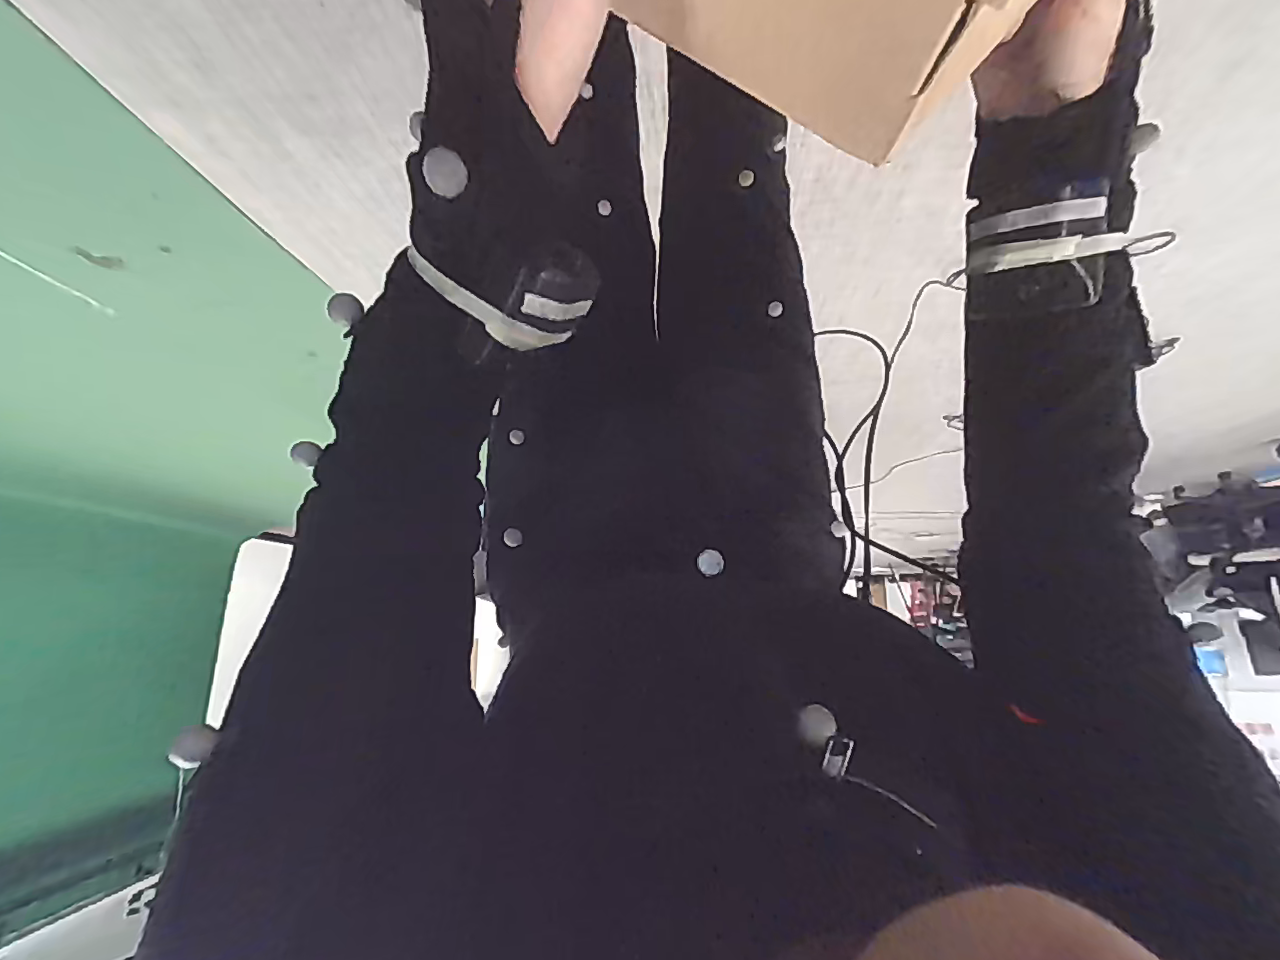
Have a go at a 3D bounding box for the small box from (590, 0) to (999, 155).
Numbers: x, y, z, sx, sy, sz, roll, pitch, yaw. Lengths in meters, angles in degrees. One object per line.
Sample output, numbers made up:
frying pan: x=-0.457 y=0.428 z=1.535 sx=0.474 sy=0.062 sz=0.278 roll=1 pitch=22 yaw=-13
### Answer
small box: x=0.080 y=-0.268 z=0.183 sx=0.179 sy=0.176 sz=0.168 roll=37 pitch=165 yaw=10
